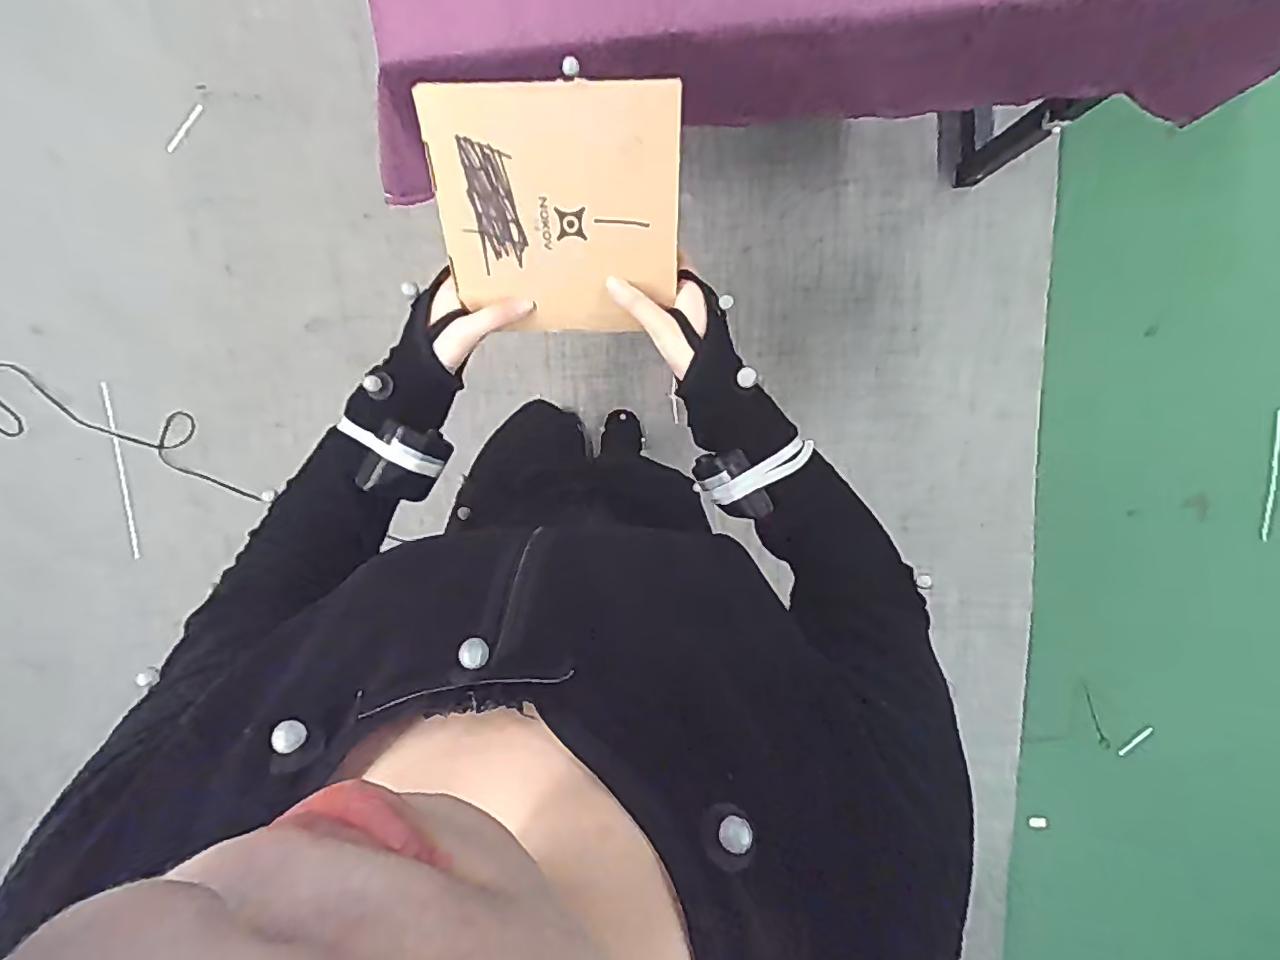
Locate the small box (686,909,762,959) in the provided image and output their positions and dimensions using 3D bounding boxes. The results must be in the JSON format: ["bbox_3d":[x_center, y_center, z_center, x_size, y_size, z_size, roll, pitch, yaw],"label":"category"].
[{"bbox_3d":[0.198,1.163,1.270,0.168,0.176,0.179,2,100,0],"label":"small box"}]

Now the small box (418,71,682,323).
[{"bbox_3d":[-0.057,-0.242,0.460,0.179,0.176,0.168,0,126,1],"label":"small box"}]
